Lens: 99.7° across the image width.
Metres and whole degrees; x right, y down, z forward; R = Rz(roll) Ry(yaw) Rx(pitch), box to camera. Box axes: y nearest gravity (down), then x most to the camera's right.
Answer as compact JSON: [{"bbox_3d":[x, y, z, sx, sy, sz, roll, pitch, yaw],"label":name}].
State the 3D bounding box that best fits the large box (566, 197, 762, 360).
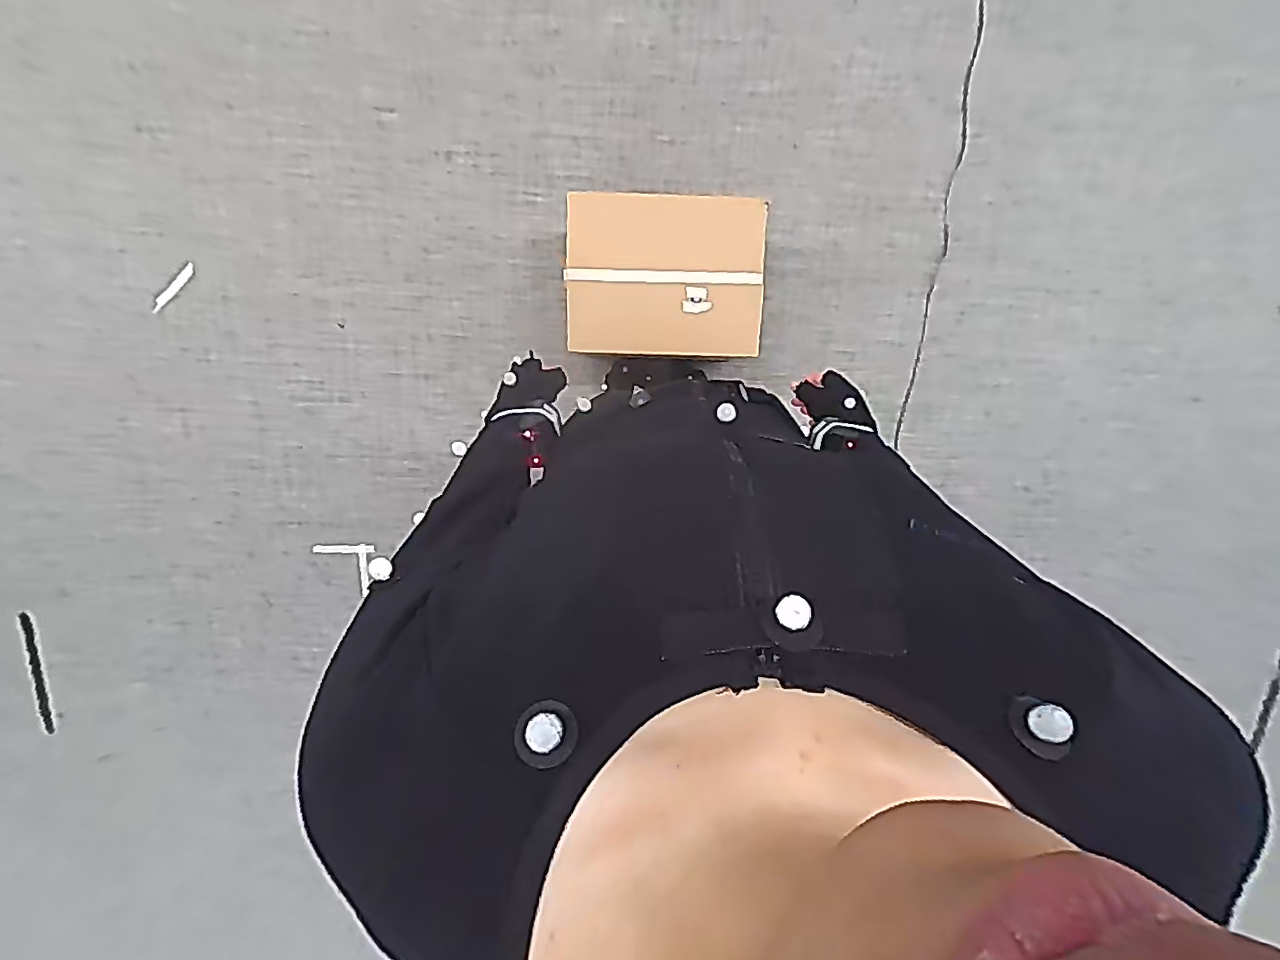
[{"bbox_3d":[0.044,-0.445,1.265,0.408,0.320,0.320,1,102,-1],"label":"large box"}]
